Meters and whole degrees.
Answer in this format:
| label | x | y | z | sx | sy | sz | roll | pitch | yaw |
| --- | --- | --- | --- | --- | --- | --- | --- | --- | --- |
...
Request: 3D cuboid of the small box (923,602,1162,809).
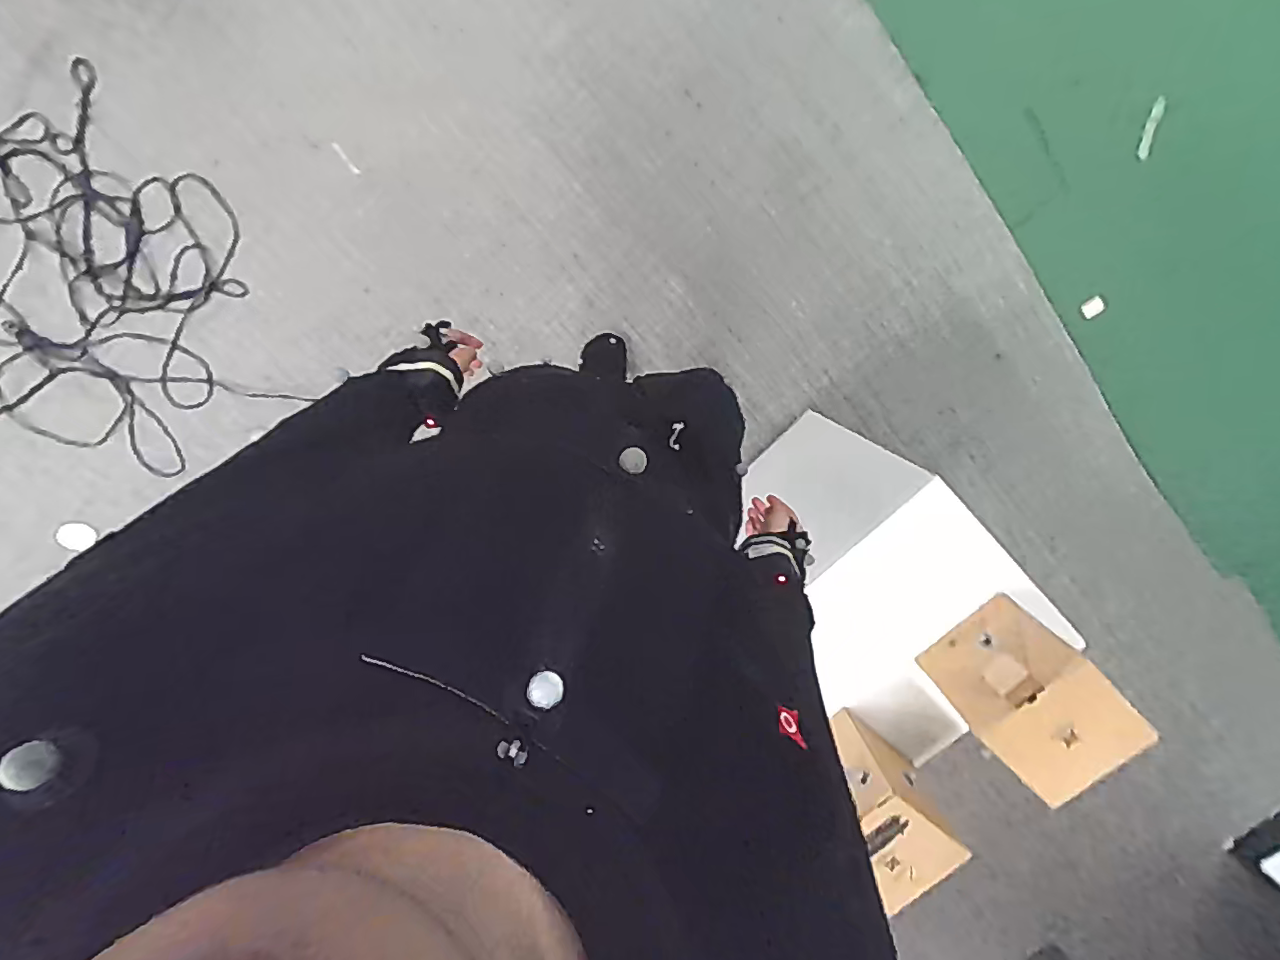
| label | x | y | z | sx | sy | sz | roll | pitch | yaw |
| --- | --- | --- | --- | --- | --- | --- | --- | --- | --- |
| small box | 0.552 | 0.308 | 0.767 | 0.179 | 0.176 | 0.168 | 43 | 102 | -11 |
